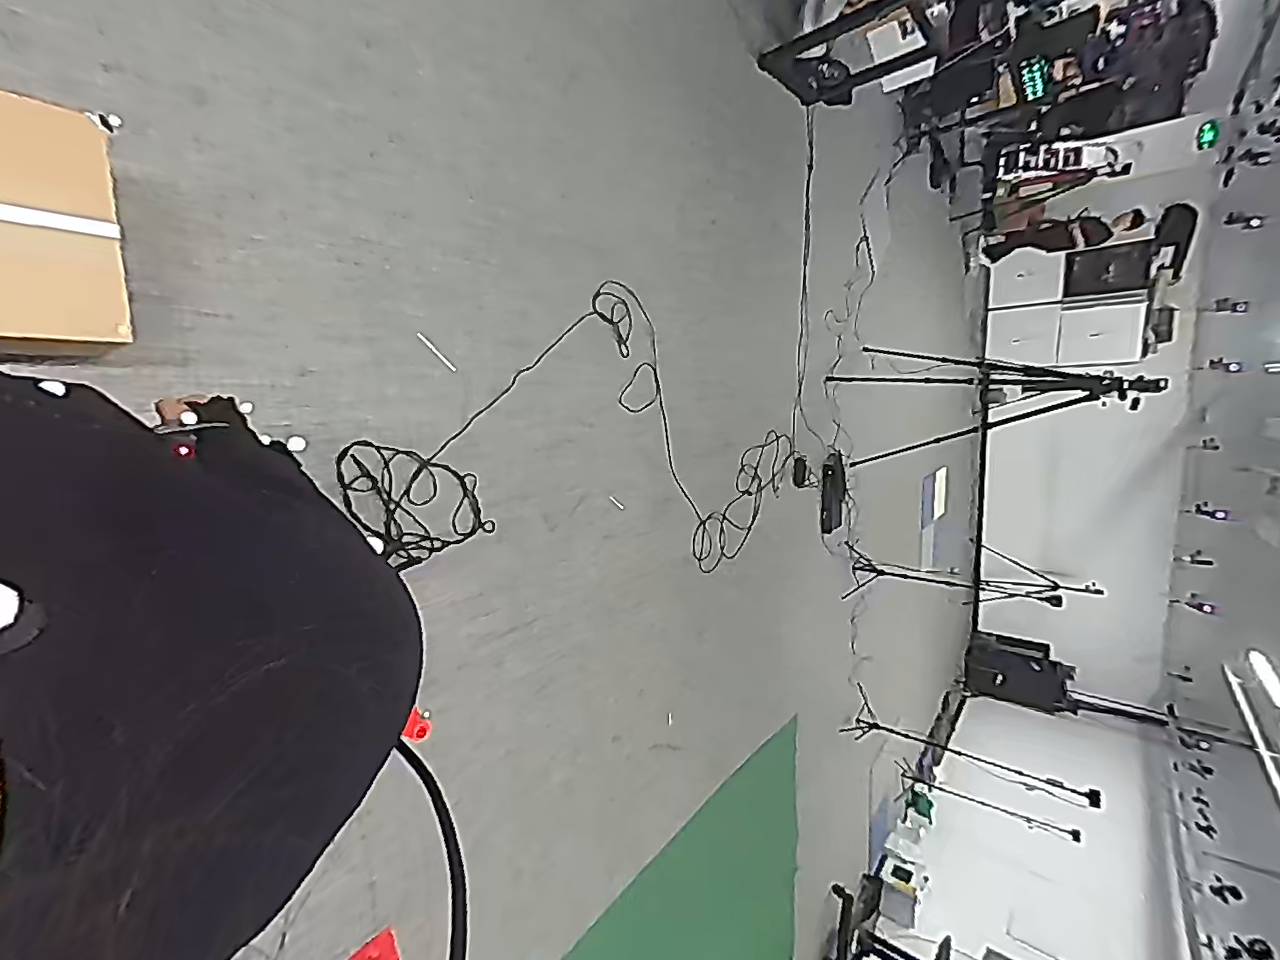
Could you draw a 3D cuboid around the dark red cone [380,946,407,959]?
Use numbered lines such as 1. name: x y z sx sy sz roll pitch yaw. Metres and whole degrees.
1. dark red cone: -0.561 1.356 1.283 0.202 0.394 0.201 -22 113 -47
